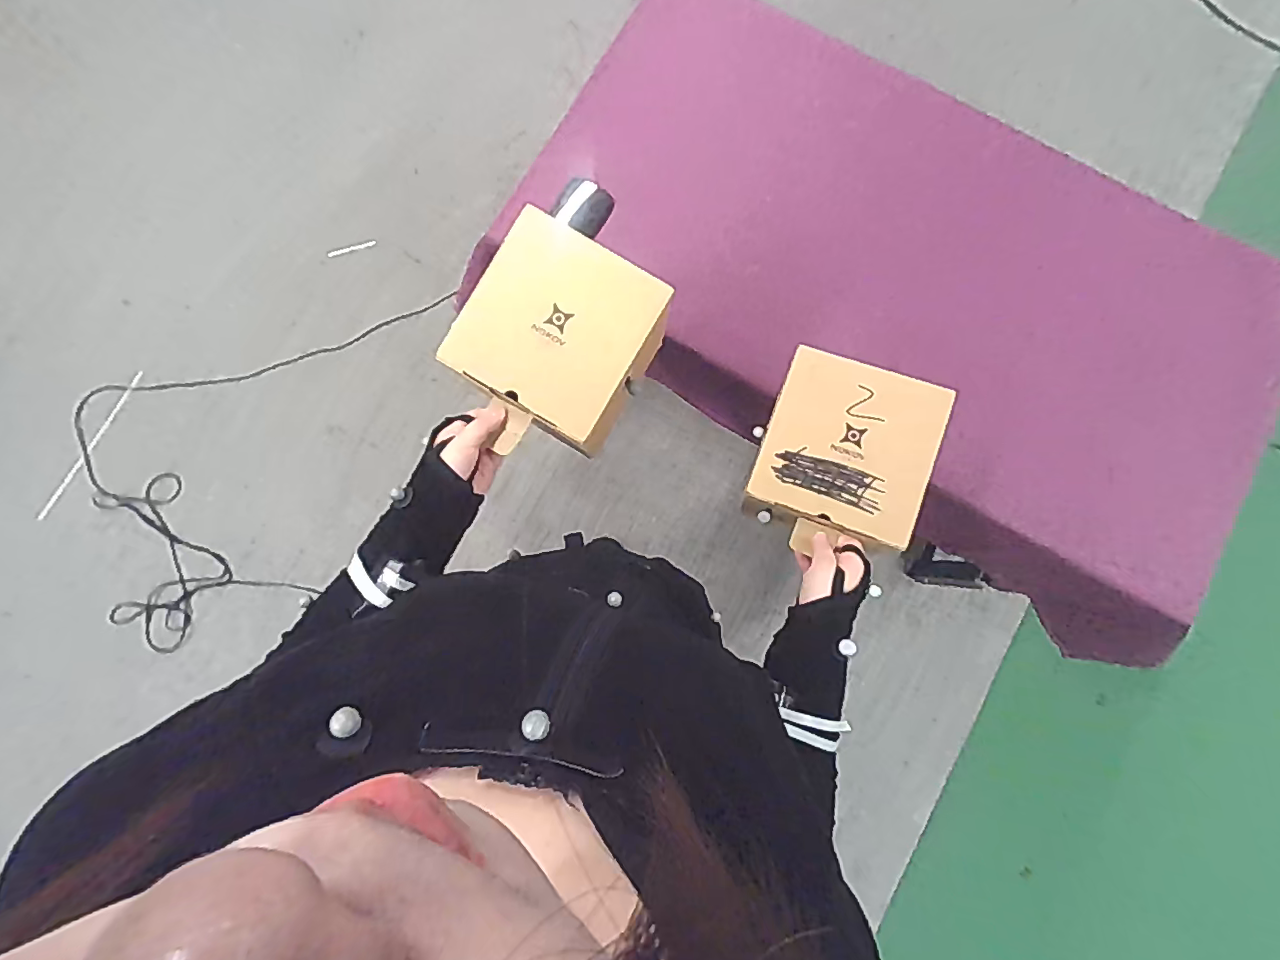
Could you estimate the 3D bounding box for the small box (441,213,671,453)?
[{"bbox_3d":[-0.085,-0.145,0.603,0.168,0.176,0.179,30,88,-1],"label":"small box"}]
